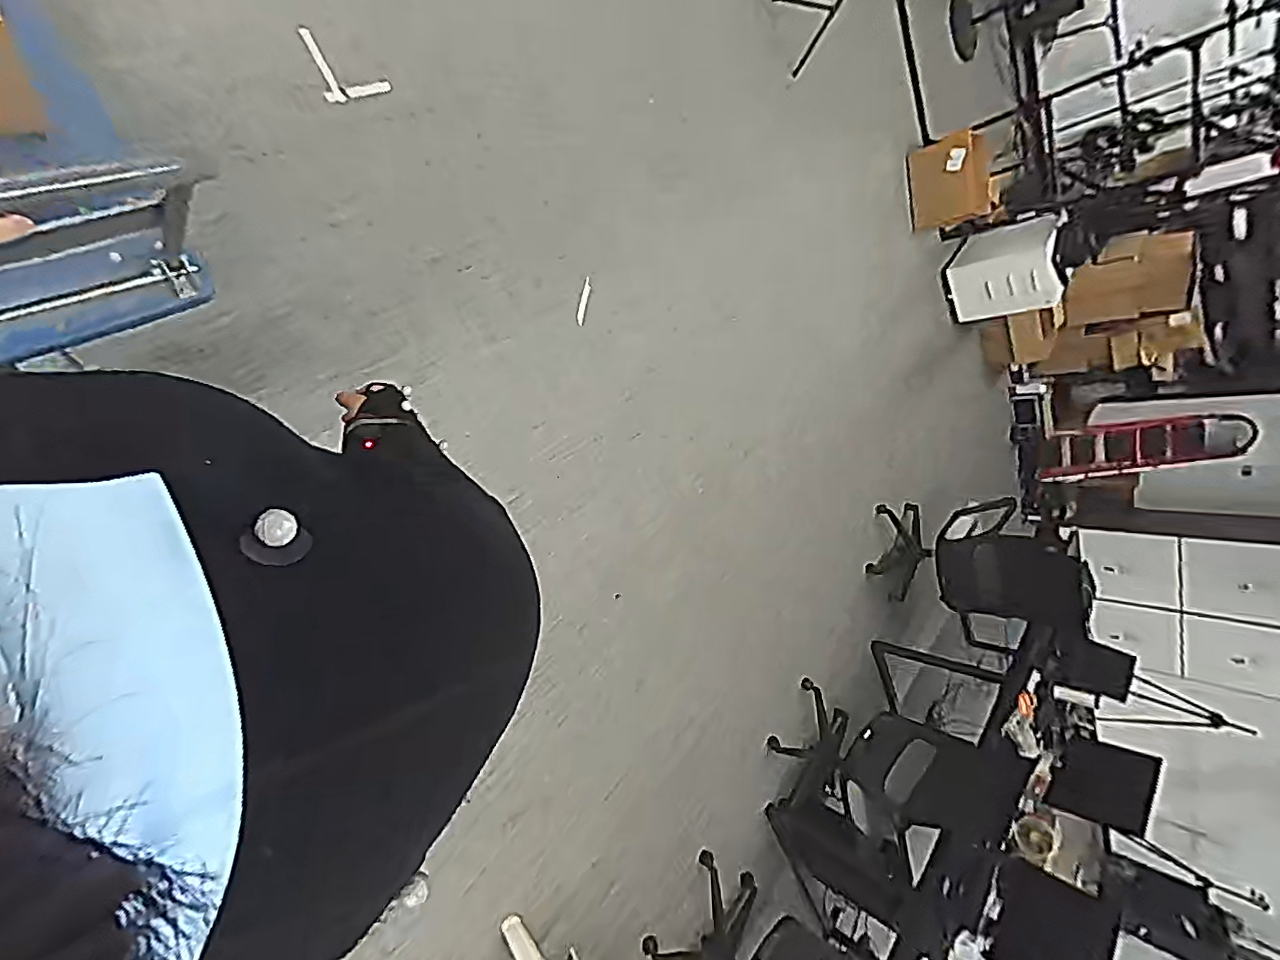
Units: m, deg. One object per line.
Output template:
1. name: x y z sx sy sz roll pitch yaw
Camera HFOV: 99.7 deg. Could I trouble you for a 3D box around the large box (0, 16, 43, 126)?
1. large box: -1.087 -0.628 0.634 0.408 0.320 0.320 -35 113 -33
